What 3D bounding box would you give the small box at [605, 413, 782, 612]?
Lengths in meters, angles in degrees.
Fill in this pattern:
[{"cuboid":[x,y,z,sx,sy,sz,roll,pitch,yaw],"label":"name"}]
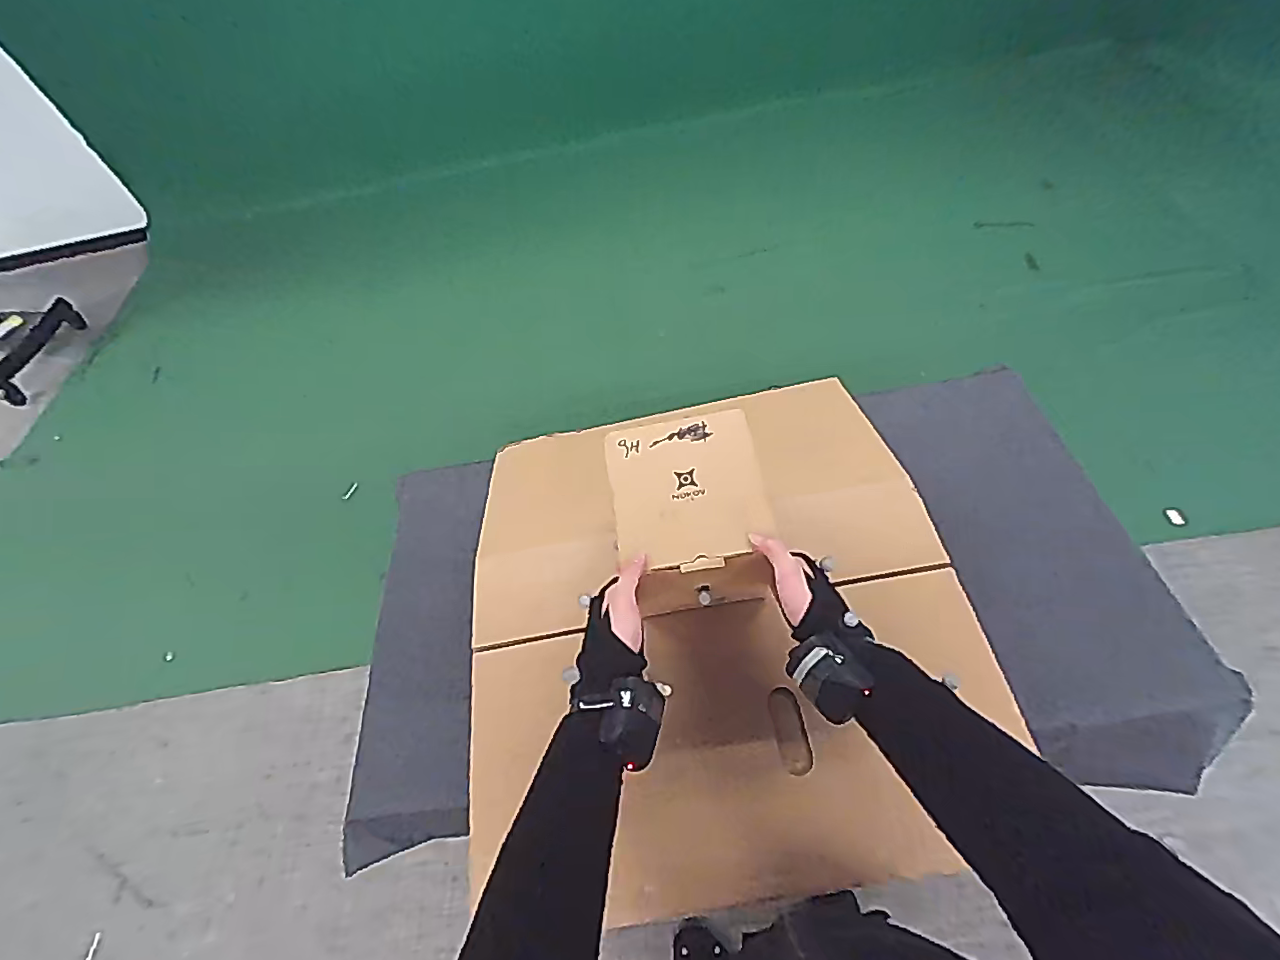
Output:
[{"cuboid":[0.063,0.050,0.654,0.168,0.176,0.179,-12,61,1],"label":"small box"}]
